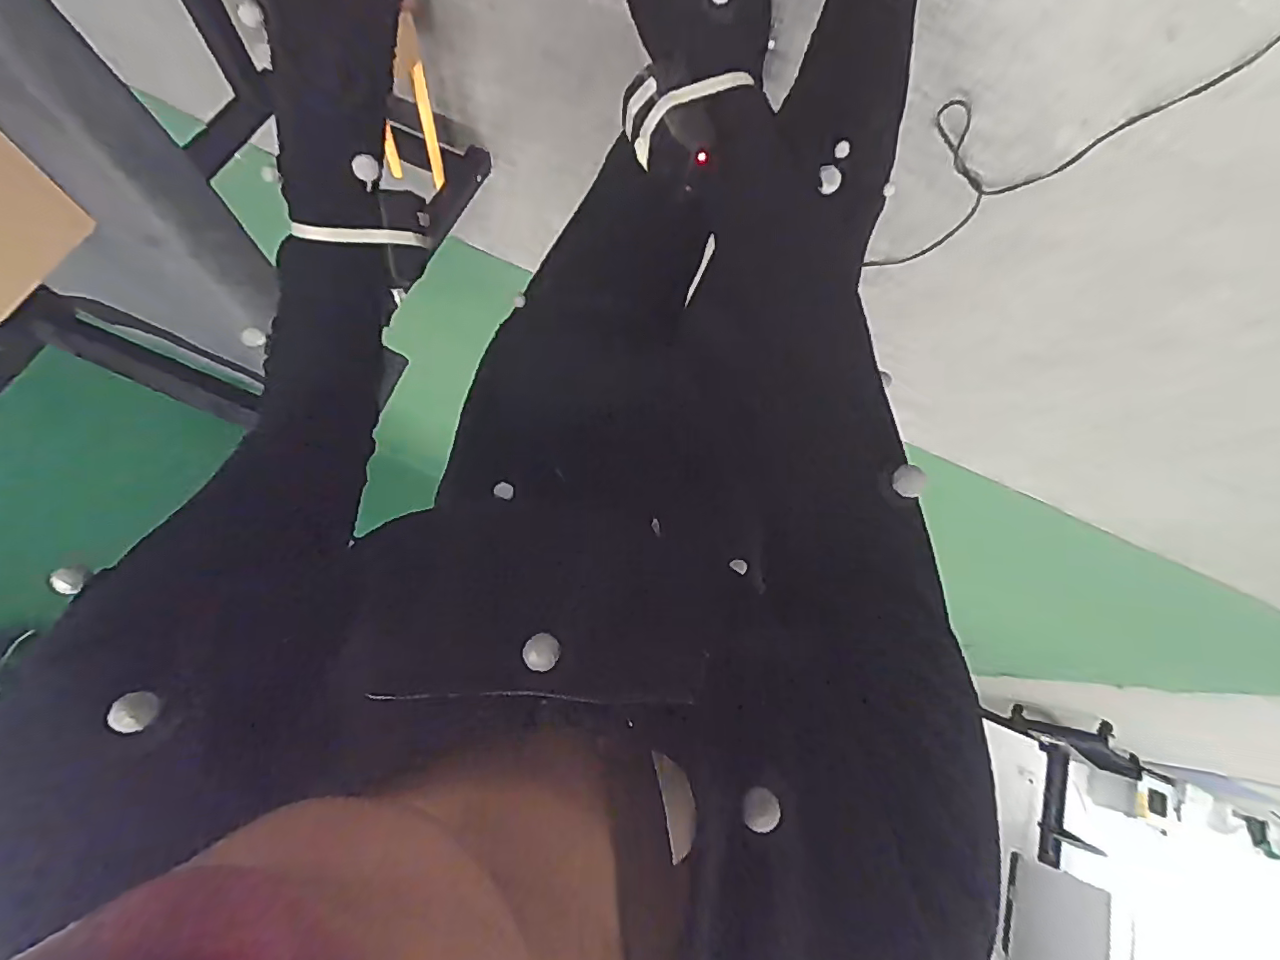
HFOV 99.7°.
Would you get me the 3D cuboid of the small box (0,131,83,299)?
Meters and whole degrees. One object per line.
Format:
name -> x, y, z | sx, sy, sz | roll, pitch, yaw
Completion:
small box -> -0.763, -0.309, 0.558 | 0.168, 0.176, 0.179 | 24, 160, -4
